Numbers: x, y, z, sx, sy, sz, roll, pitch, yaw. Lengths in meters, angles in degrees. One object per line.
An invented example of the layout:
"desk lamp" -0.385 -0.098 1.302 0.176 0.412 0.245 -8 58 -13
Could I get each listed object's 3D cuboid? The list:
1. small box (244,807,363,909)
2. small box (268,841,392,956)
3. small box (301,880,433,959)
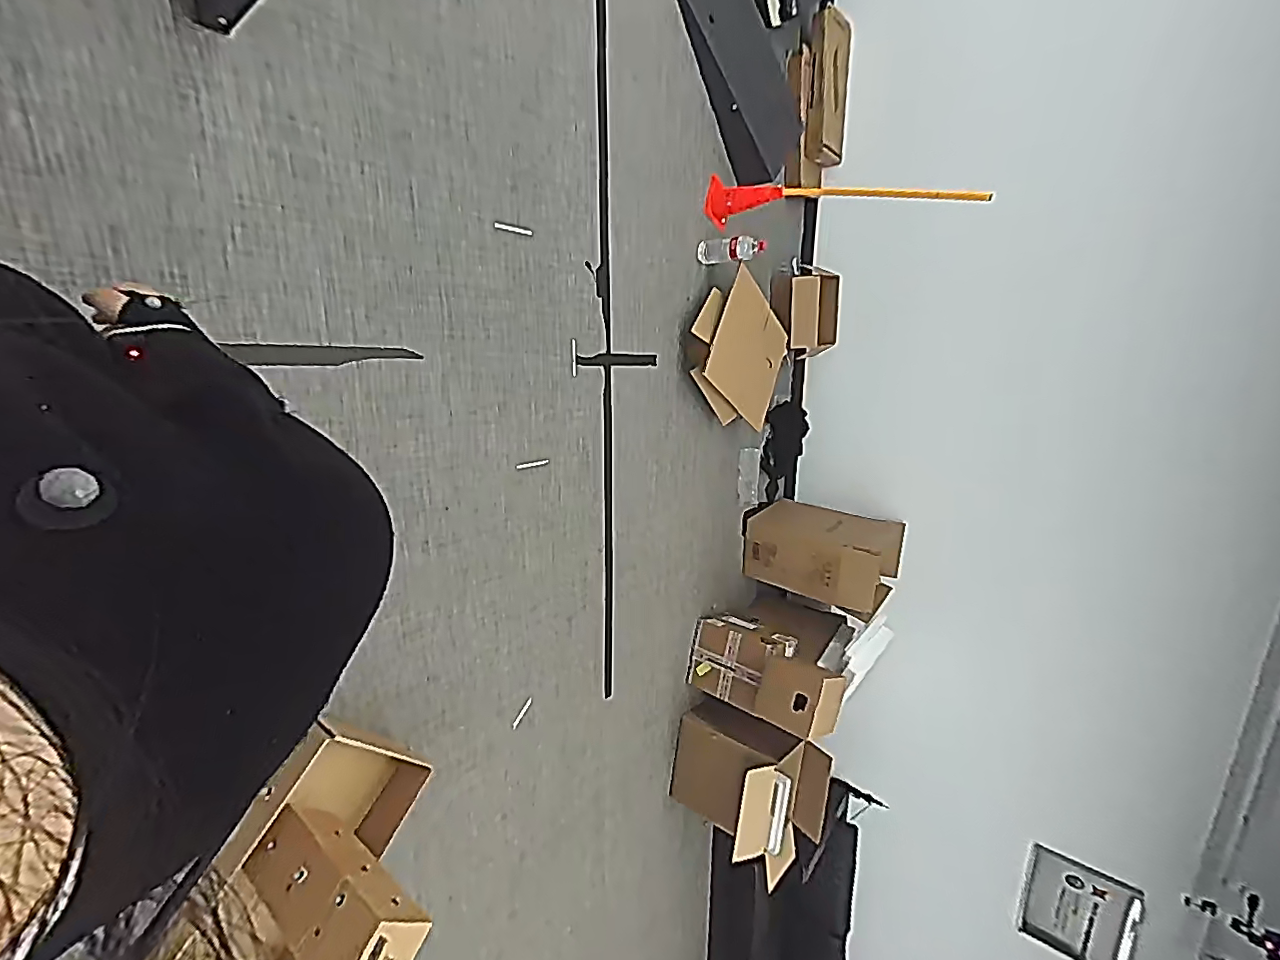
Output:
"small box" -0.888 1.001 1.429 0.168 0.176 0.179 -59 139 -26
"small box" -0.759 1.028 1.333 0.168 0.176 0.179 -60 139 -25
"small box" -0.626 1.054 1.240 0.168 0.176 0.179 -60 141 -24
